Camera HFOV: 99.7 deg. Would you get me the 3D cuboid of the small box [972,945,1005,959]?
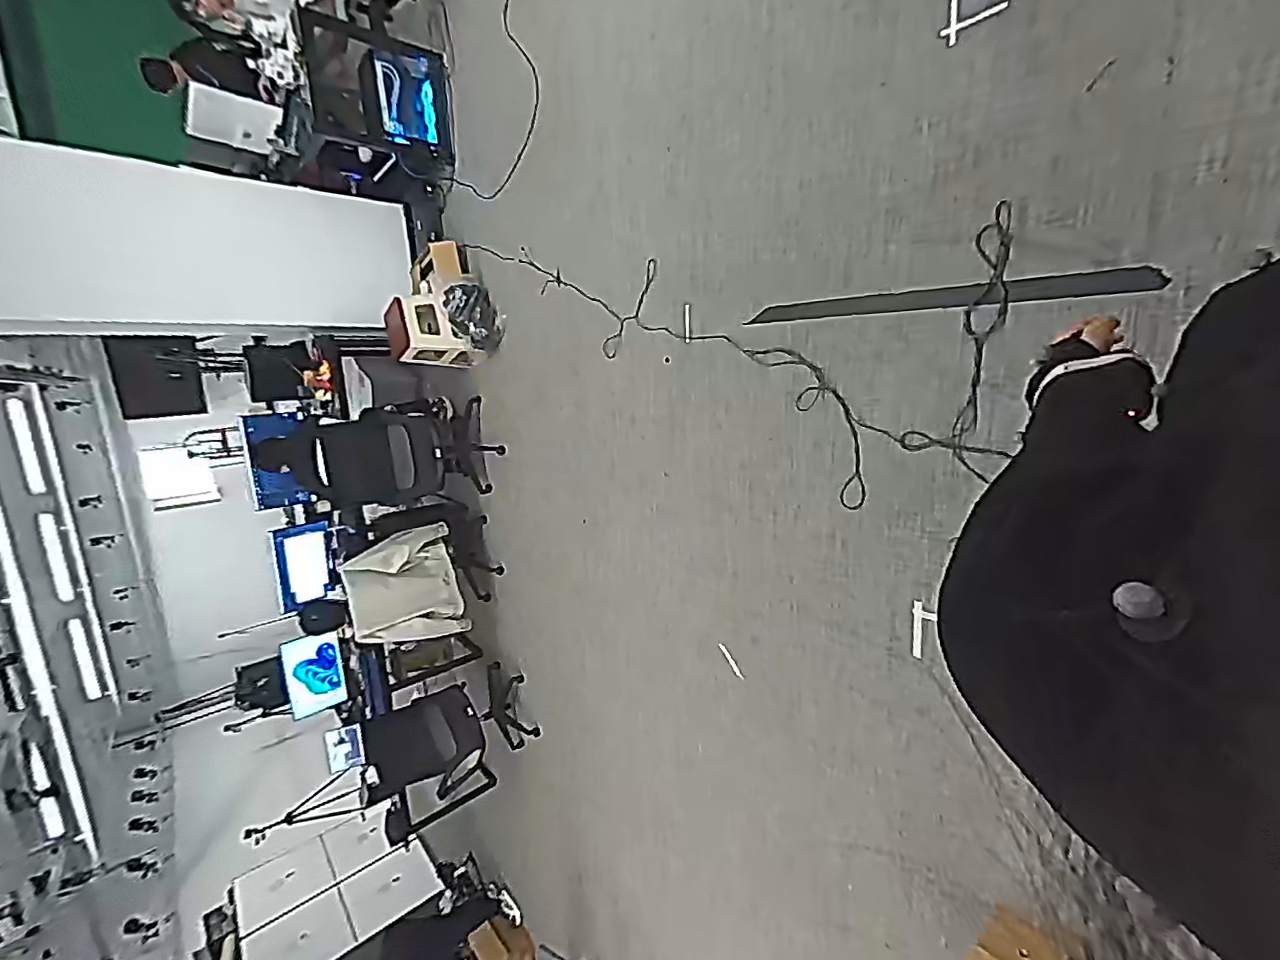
[{"bbox_3d":[0.884,1.307,1.315,0.168,0.176,0.179,9,107,49],"label":"small box"}]
